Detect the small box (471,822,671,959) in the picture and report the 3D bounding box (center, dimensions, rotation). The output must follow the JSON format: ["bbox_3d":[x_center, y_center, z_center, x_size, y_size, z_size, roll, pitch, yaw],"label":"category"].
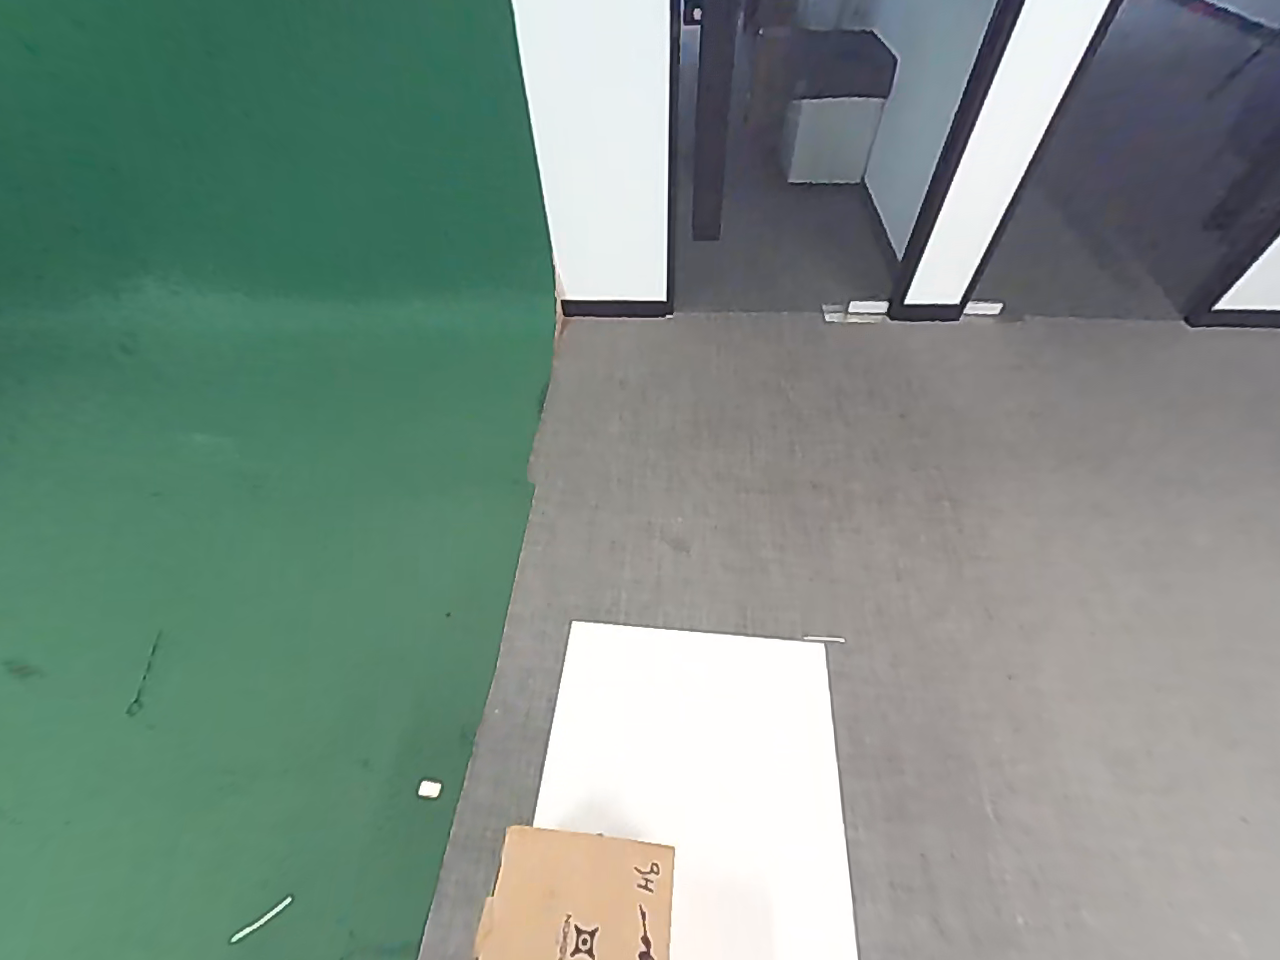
[{"bbox_3d":[-0.062,0.473,0.559,0.179,0.176,0.168,4,51,5],"label":"small box"}]
